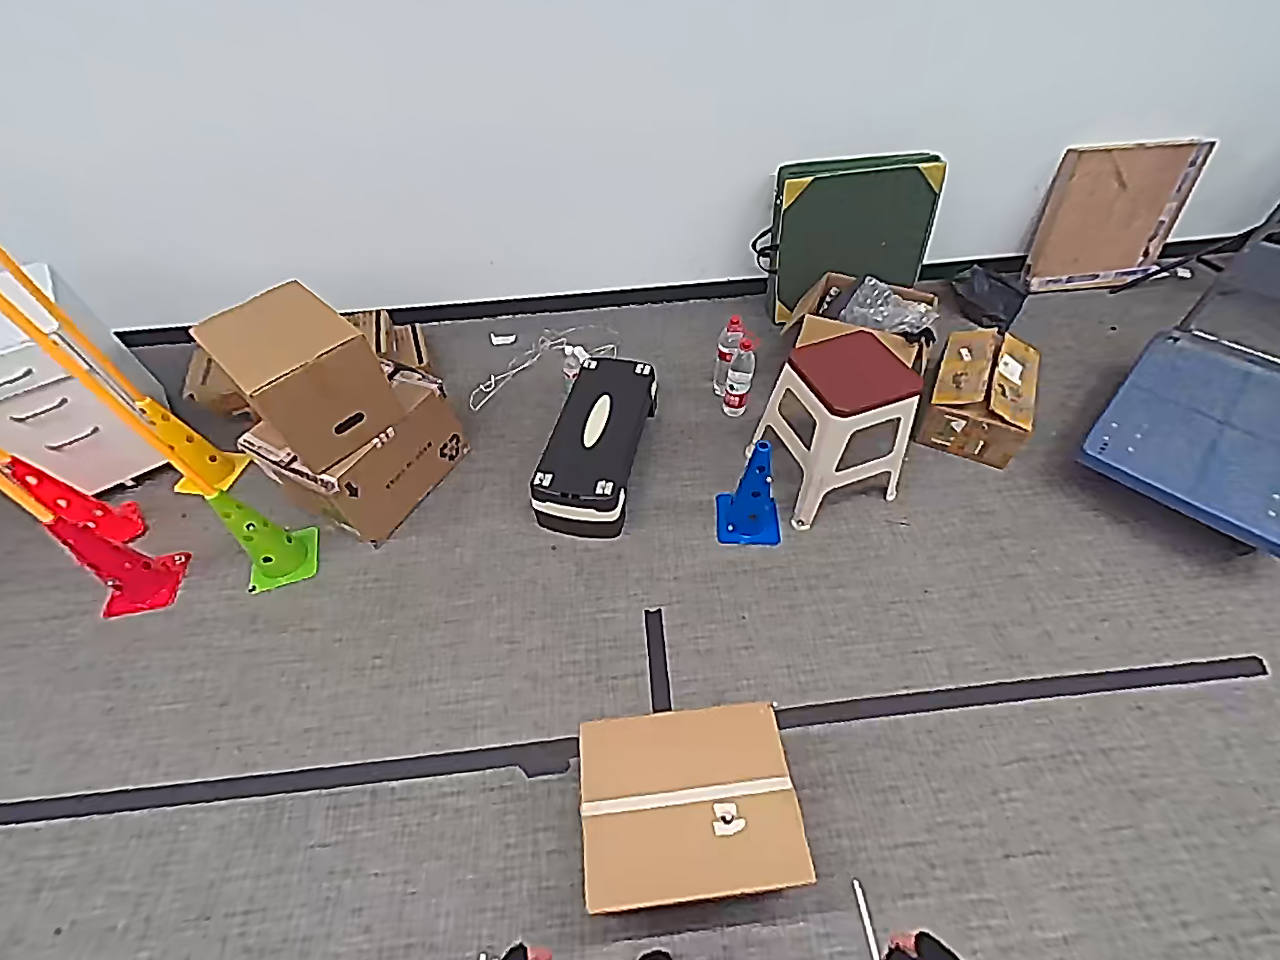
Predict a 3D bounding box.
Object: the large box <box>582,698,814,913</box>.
[{"bbox_3d":[0.095,0.694,1.149,0.408,0.320,0.320,-6,52,-4],"label":"large box"}]
